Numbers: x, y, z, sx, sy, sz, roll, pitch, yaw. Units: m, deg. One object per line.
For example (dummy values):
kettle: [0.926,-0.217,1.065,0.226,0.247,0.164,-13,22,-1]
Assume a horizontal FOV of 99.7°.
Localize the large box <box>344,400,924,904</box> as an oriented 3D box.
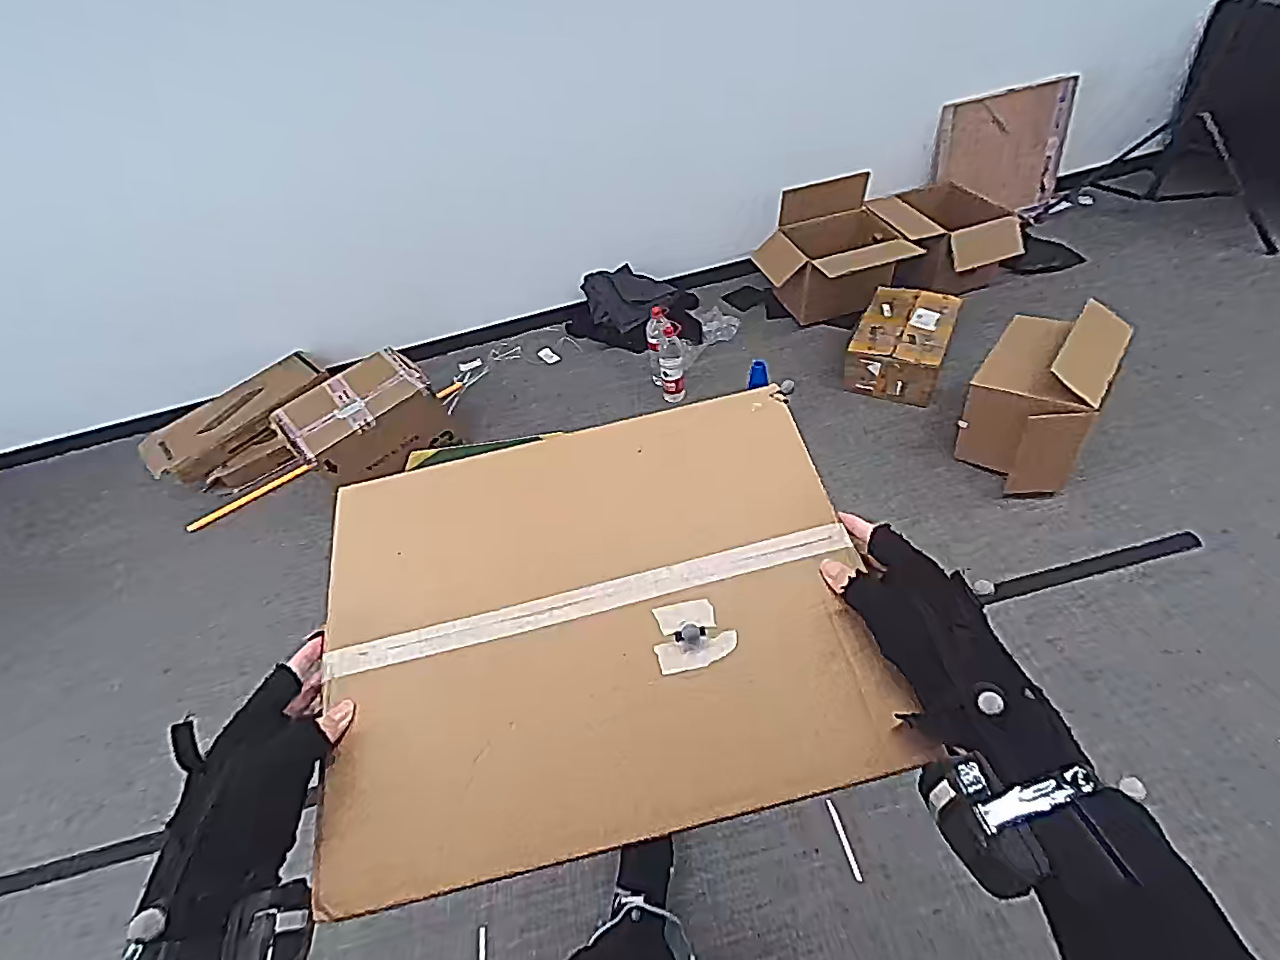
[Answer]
large box: [-0.020,0.172,0.556,0.408,0.320,0.320,-13,61,-2]
